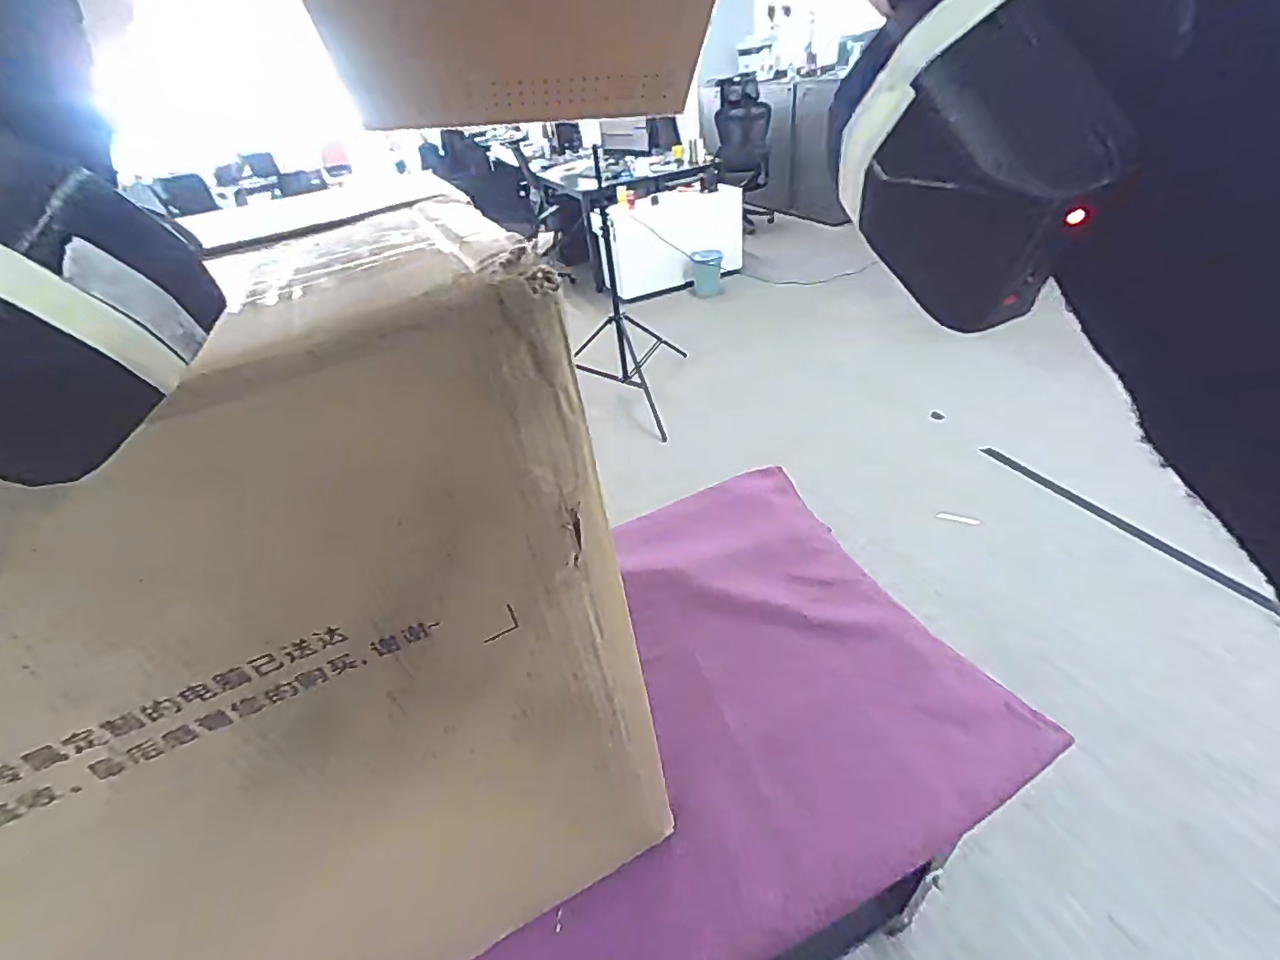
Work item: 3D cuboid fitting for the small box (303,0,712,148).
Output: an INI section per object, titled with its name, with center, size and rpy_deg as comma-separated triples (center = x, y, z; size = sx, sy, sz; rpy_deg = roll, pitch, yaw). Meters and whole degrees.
[small box]
center = -0.061, -0.276, 0.229
size = 0.179, 0.168, 0.176
rpy_deg = -10, -7, -9
